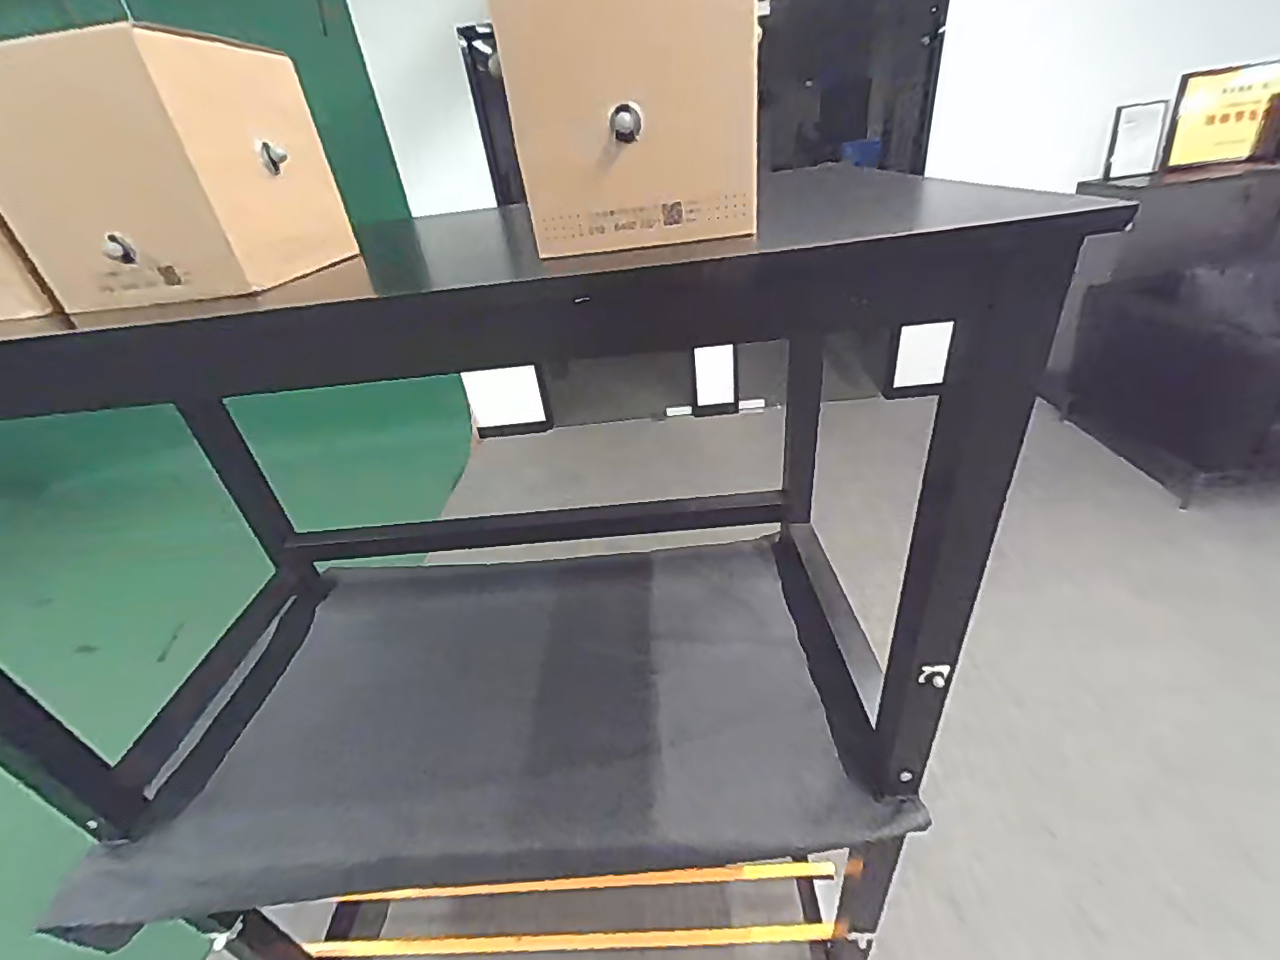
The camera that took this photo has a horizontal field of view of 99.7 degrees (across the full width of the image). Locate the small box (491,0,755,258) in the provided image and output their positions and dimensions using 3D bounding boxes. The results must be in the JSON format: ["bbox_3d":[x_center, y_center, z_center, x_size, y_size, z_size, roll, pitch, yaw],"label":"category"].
[{"bbox_3d":[0.000,-0.283,0.435,0.168,0.176,0.179,-4,32,4],"label":"small box"}]
